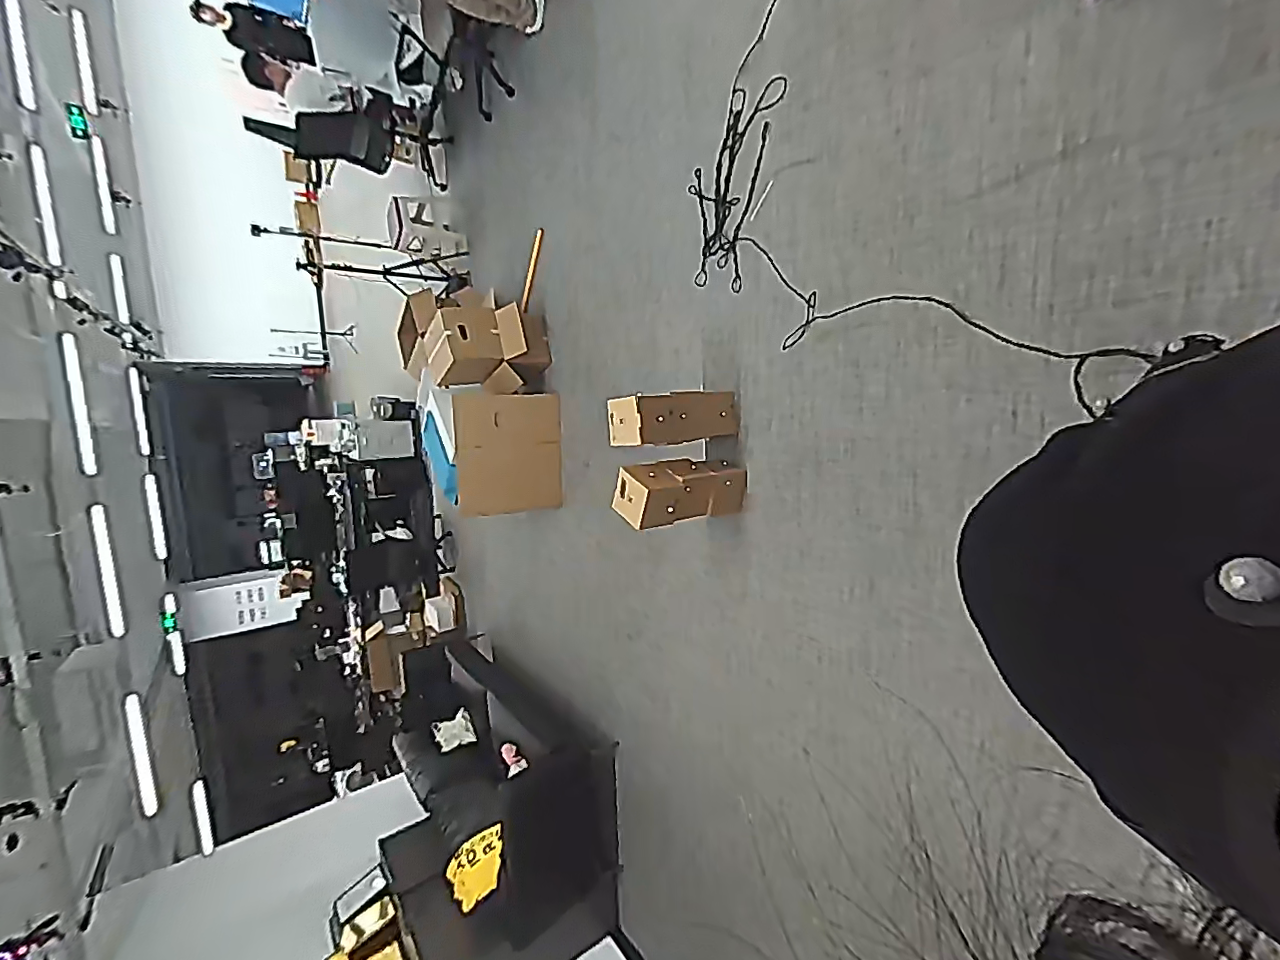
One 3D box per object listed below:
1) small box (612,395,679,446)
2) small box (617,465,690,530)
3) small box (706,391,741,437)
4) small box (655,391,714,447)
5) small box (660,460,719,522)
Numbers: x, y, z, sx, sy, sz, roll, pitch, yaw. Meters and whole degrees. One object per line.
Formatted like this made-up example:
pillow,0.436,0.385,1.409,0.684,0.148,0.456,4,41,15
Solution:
small box,0.026,-0.209,1.901,0.179,0.176,0.168,3,99,52
small box,0.047,0.056,1.925,0.179,0.176,0.168,39,126,44
small box,0.277,-0.251,2.104,0.179,0.176,0.168,-3,94,55
small box,0.154,-0.225,2.000,0.168,0.176,0.179,-10,88,54
small box,0.175,0.035,2.026,0.168,0.176,0.179,34,122,47
